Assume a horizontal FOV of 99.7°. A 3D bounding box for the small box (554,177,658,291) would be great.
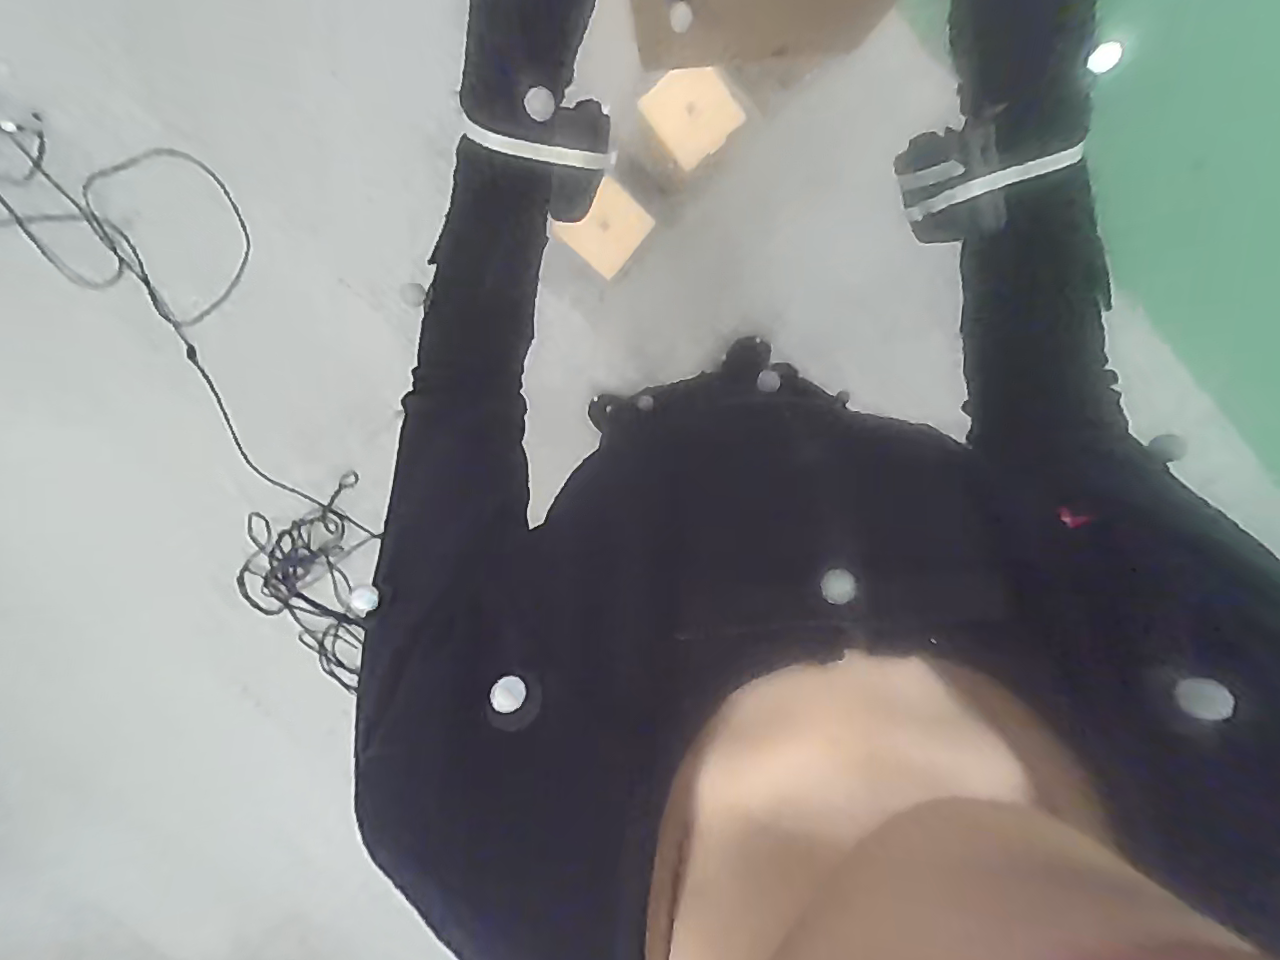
[{"bbox_3d":[-0.075,-0.564,1.275,0.179,0.176,0.168,39,103,-9],"label":"small box"}]
